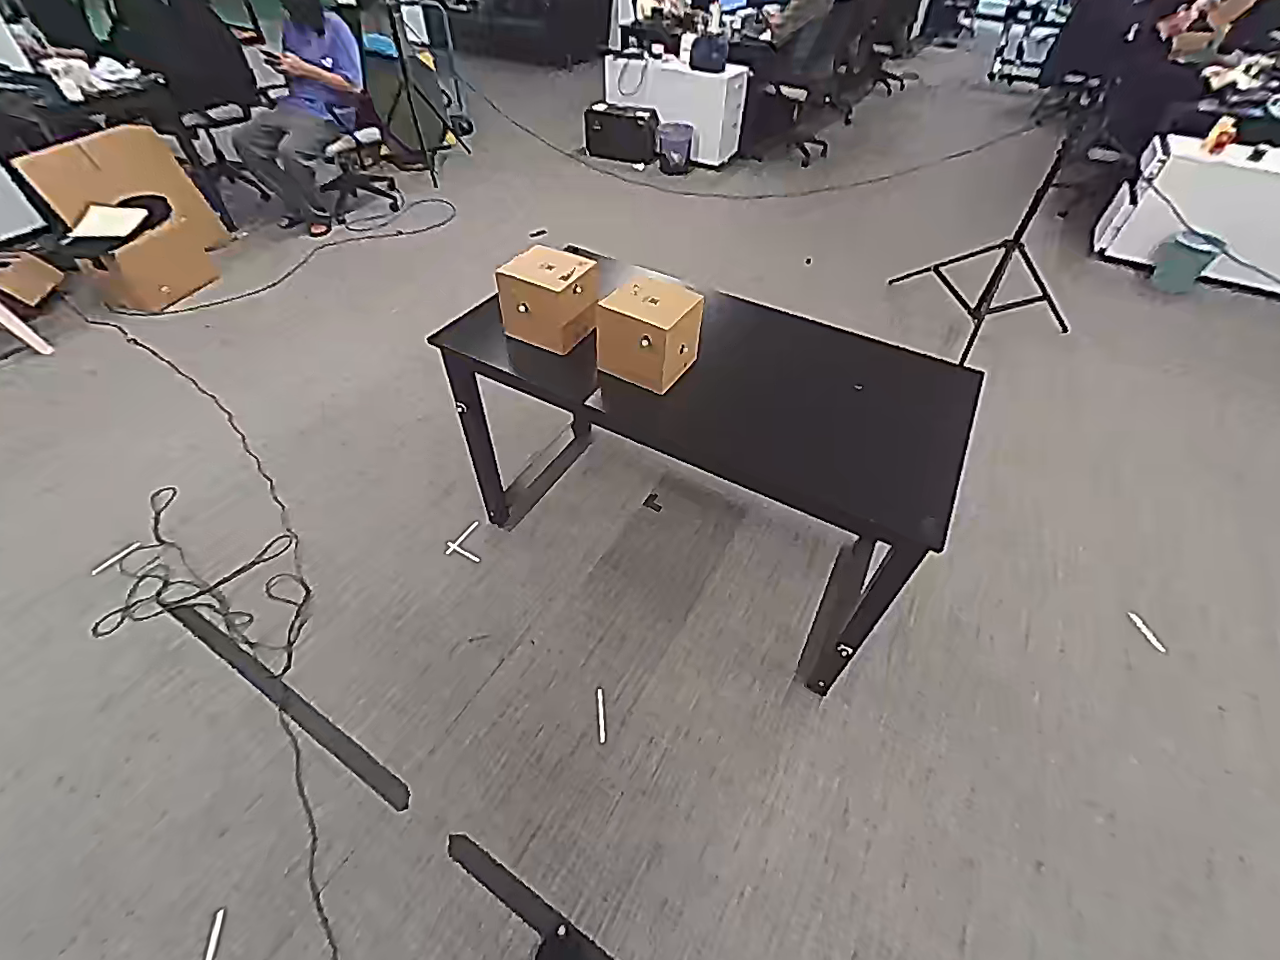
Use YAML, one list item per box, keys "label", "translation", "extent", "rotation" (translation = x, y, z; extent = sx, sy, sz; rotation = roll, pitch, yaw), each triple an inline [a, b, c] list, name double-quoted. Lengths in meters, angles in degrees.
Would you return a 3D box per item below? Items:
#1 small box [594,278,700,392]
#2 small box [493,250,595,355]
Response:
- label: "small box"
  translation: [0.014, -0.321, 1.212]
  extent: [0.179, 0.176, 0.168]
  rotation: [25, 50, 19]
- label: "small box"
  translation: [-0.222, -0.425, 1.299]
  extent: [0.179, 0.176, 0.168]
  rotation: [22, 50, 17]
